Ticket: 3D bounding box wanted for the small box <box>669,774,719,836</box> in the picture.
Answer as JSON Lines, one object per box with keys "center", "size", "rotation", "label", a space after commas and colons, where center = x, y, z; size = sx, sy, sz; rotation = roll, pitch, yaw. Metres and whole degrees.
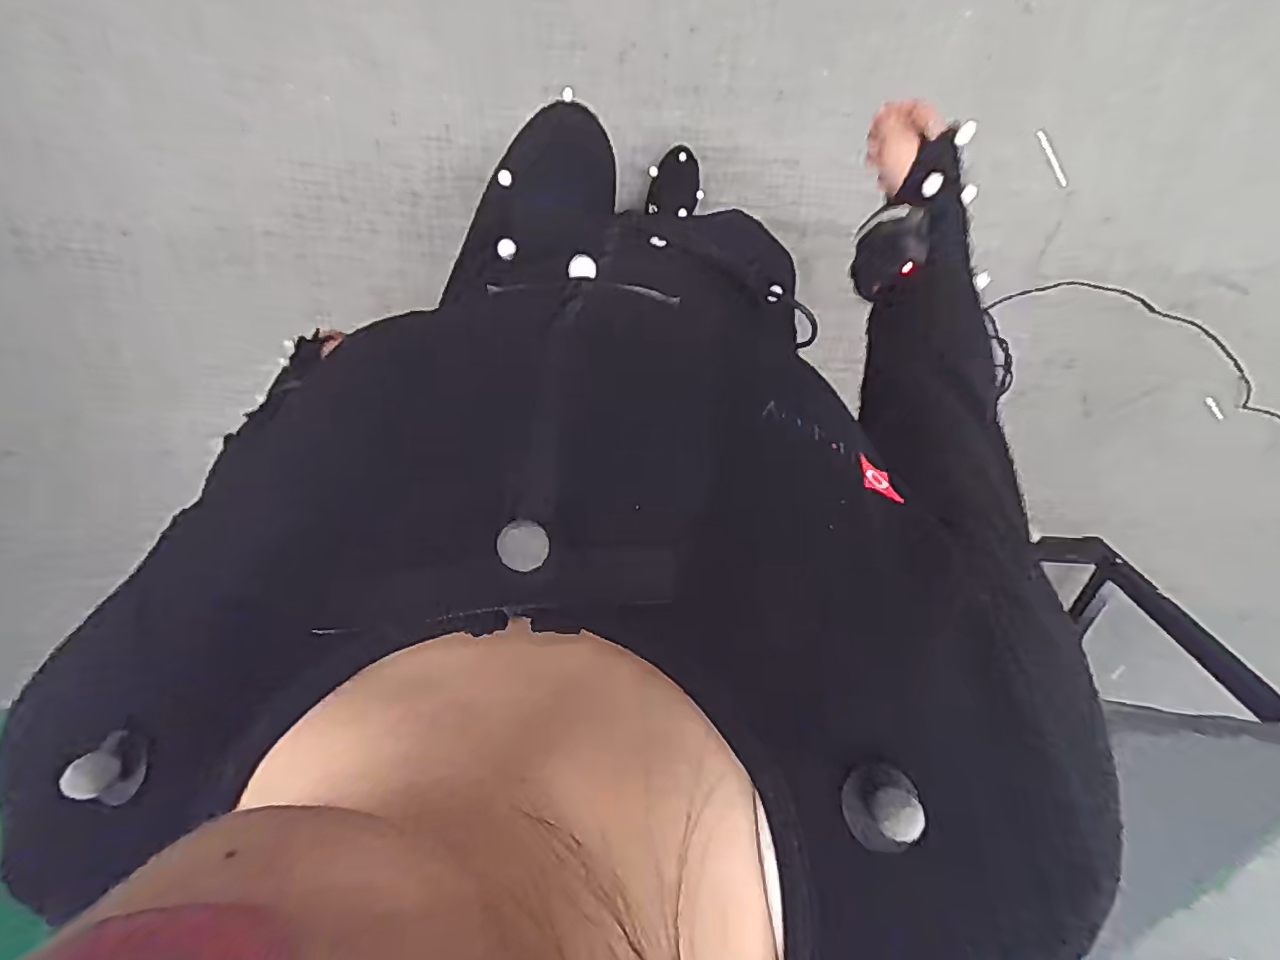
{"center": [0.239, 1.441, 2.402], "size": [0.168, 0.176, 0.179], "rotation": [-24, 118, 15], "label": "small box"}
